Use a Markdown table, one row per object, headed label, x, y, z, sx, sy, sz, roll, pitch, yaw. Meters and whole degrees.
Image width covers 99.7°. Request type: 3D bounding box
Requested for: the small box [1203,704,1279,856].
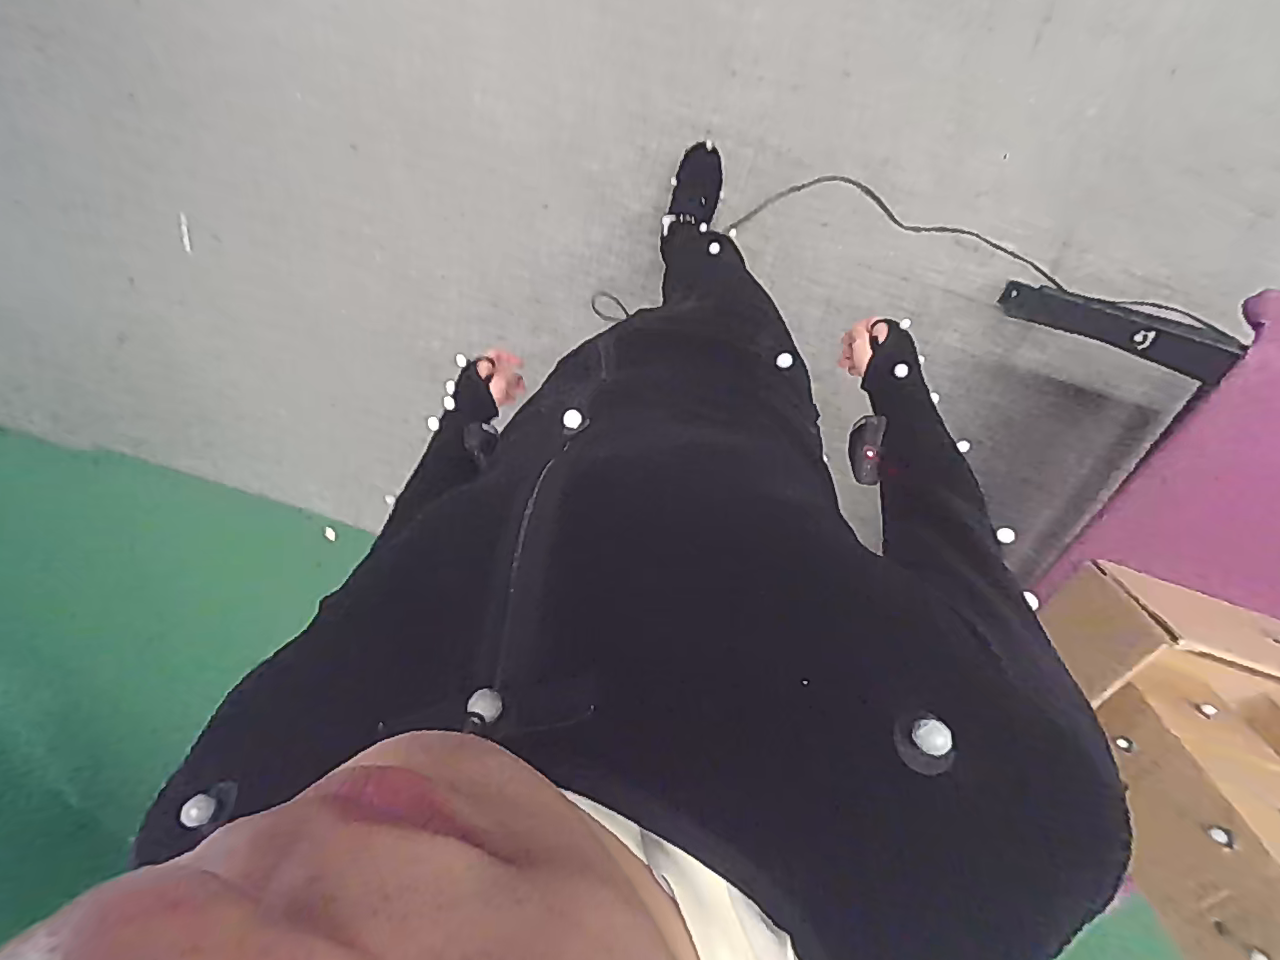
| label | x | y | z | sx | sy | sz | roll | pitch | yaw |
| --- | --- | --- | --- | --- | --- | --- | --- | --- | --- |
| small box | 1.055 | 0.474 | 0.824 | 0.179 | 0.176 | 0.168 | 17 | 120 | 3 |
